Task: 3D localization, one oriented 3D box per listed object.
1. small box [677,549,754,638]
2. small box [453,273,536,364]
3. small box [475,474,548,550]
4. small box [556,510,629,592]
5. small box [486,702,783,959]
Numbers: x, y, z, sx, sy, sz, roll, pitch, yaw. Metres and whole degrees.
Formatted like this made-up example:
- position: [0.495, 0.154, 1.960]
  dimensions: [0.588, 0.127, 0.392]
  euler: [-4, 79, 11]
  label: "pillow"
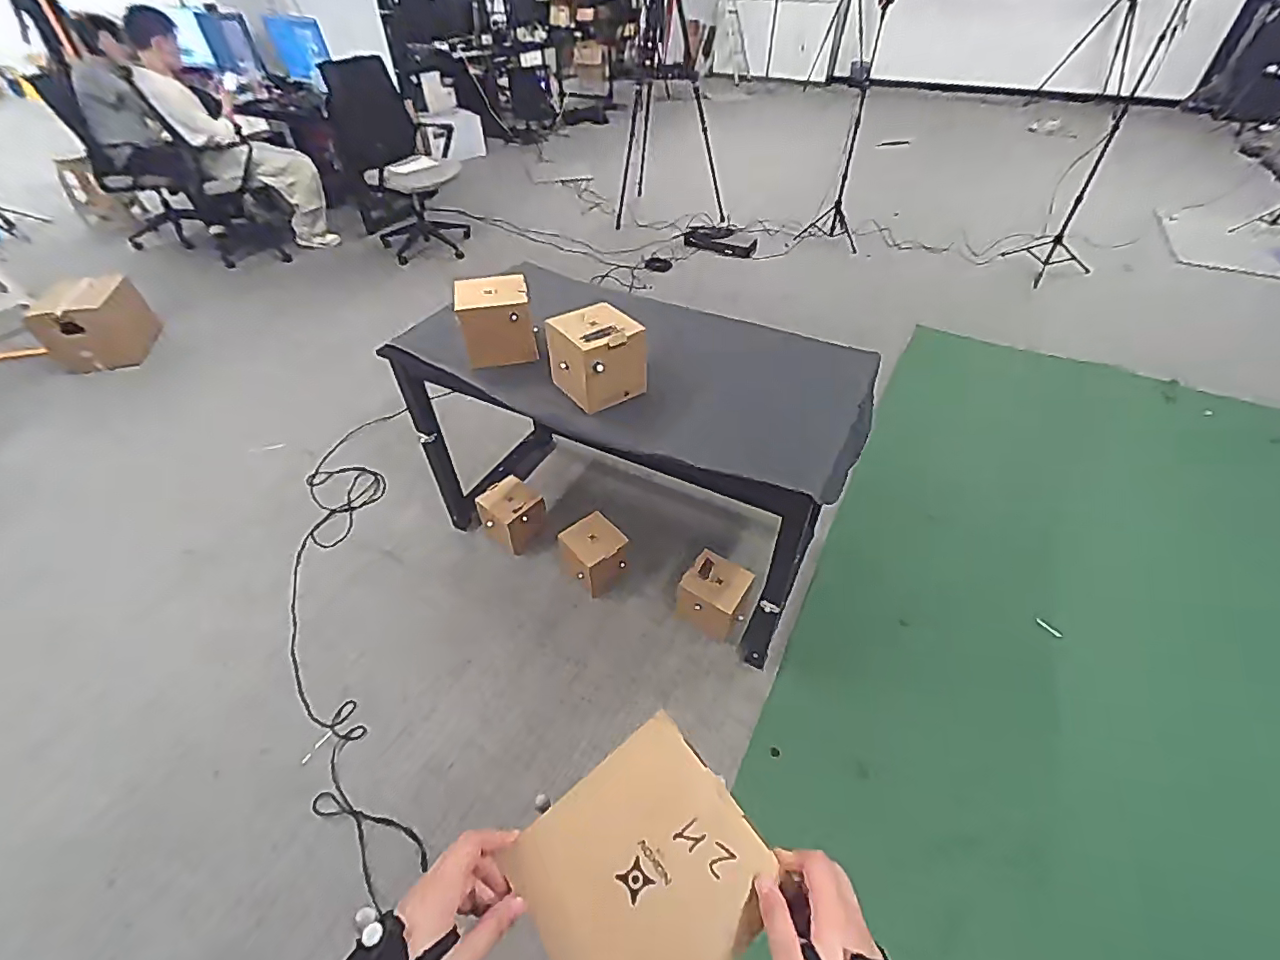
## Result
- position: [0.224, 0.349, 1.646]
  dimensions: [0.179, 0.176, 0.168]
  euler: [26, 51, 23]
  label: "small box"
- position: [-0.373, -0.413, 1.393]
  dimensions: [0.179, 0.176, 0.168]
  euler: [-10, 45, -10]
  label: "small box"
- position: [-0.447, 0.116, 1.894]
  dimensions: [0.179, 0.176, 0.168]
  euler: [30, 52, 29]
  label: "small box"
- position: [-0.149, 0.239, 1.765]
  dimensions: [0.168, 0.176, 0.179]
  euler: [-31, 51, -28]
  label: "small box"
- position: [-0.004, 0.332, 0.485]
  dimensions: [0.179, 0.176, 0.168]
  euler: [-36, 67, -17]
  label: "small box"
